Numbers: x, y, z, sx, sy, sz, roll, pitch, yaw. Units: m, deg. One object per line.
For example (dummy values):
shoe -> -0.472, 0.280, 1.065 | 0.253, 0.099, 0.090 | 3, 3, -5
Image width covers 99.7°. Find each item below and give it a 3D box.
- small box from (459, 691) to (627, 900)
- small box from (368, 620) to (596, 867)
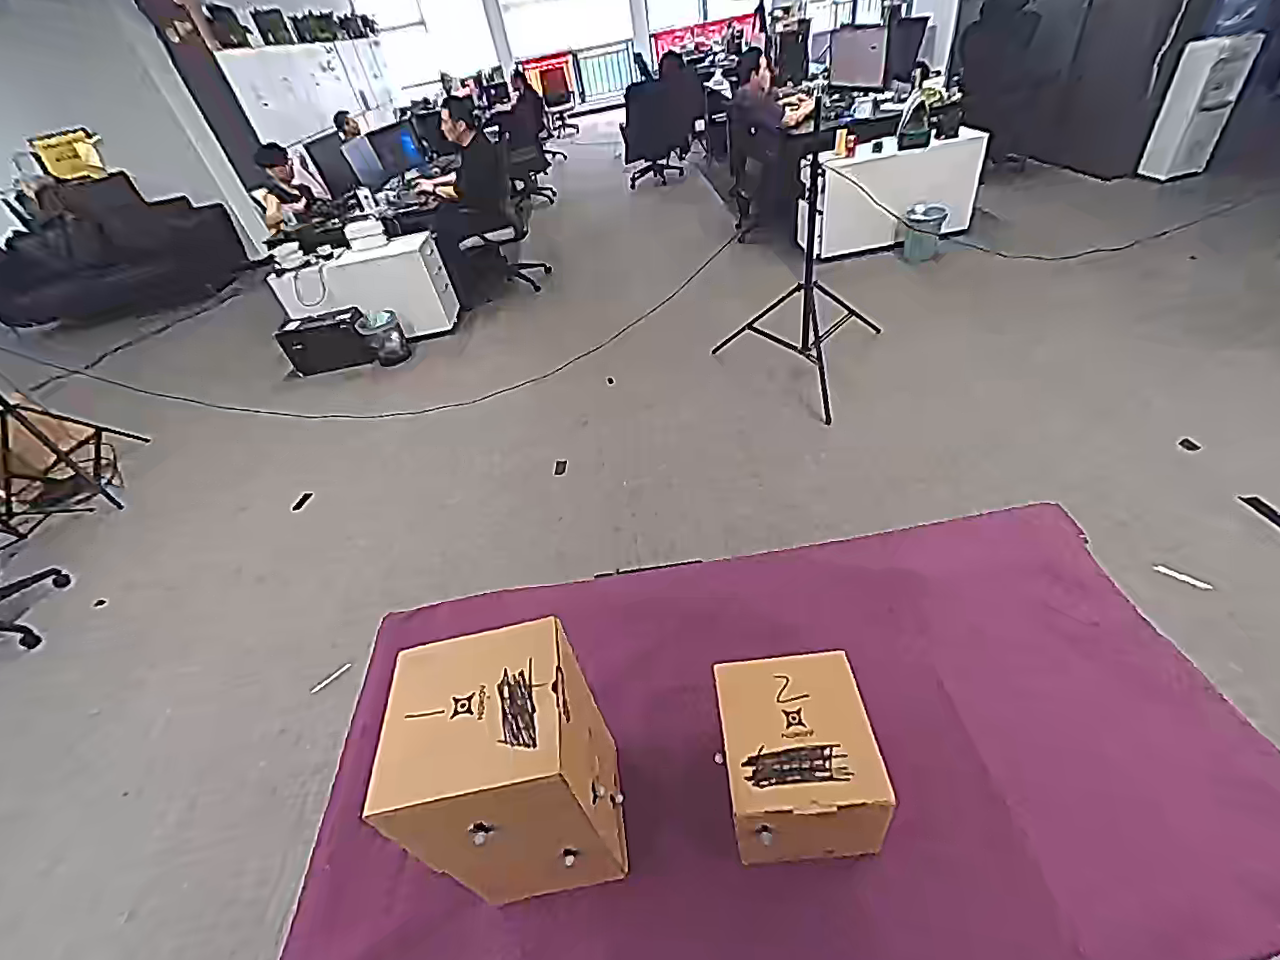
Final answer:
small box -> -0.124, 0.399, 0.683 | 0.179, 0.176, 0.168 | -12, 40, -1
small box -> -0.147, 0.279, 0.574 | 0.179, 0.176, 0.168 | -12, 40, 0
